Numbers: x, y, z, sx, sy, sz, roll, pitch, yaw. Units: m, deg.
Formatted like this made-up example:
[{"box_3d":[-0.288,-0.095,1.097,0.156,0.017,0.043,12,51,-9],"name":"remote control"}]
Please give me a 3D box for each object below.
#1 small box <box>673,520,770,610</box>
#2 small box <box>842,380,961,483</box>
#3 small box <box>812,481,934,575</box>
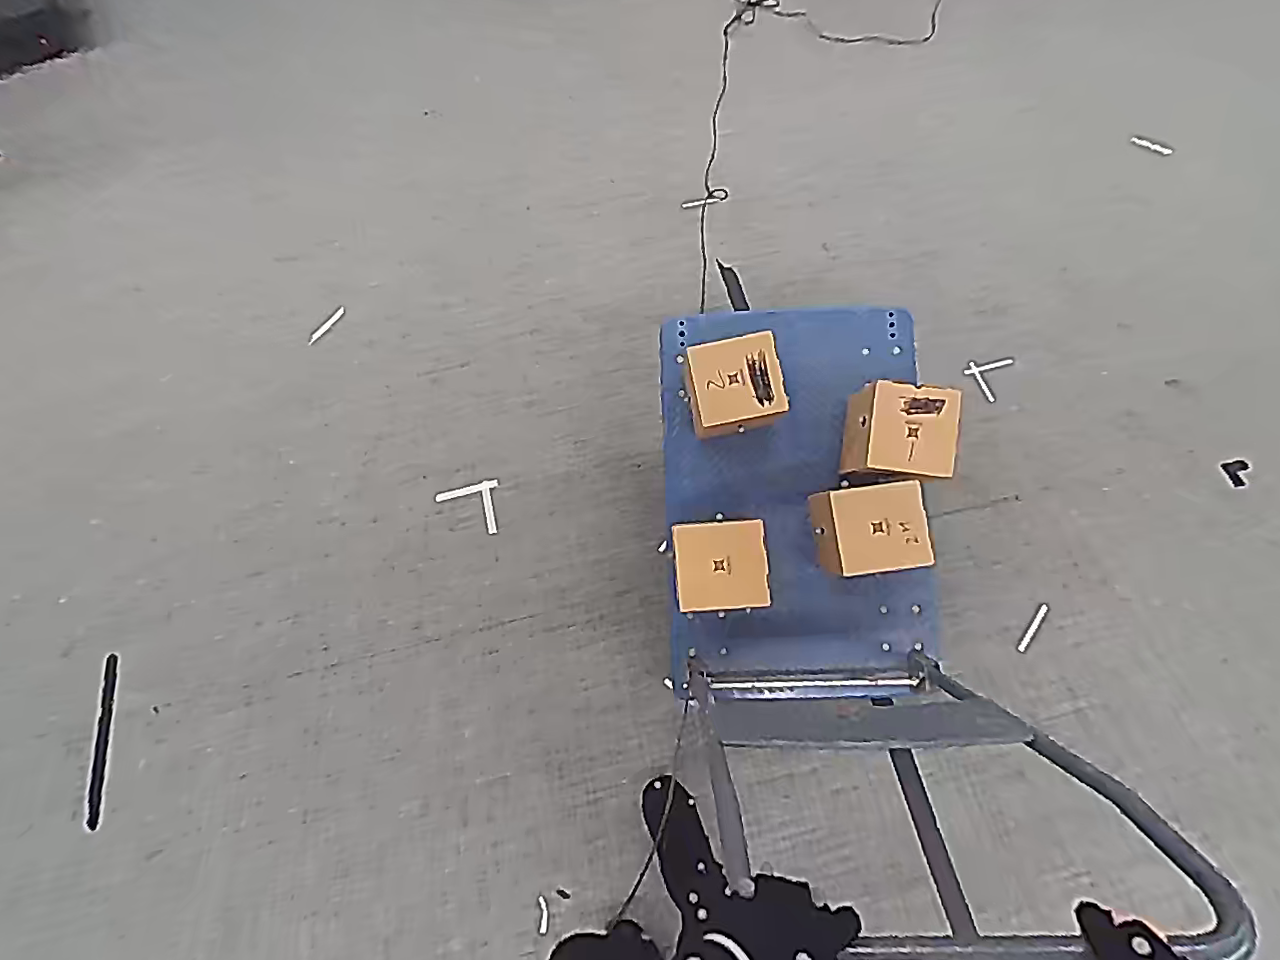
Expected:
[{"box_3d":[0.159,0.171,1.114,0.179,0.176,0.168,-5,85,1],"name":"small box"},{"box_3d":[0.532,-0.092,1.119,0.168,0.176,0.179,8,86,3],"name":"small box"},{"box_3d":[0.463,0.098,1.106,0.179,0.176,0.168,-8,85,2],"name":"small box"}]
